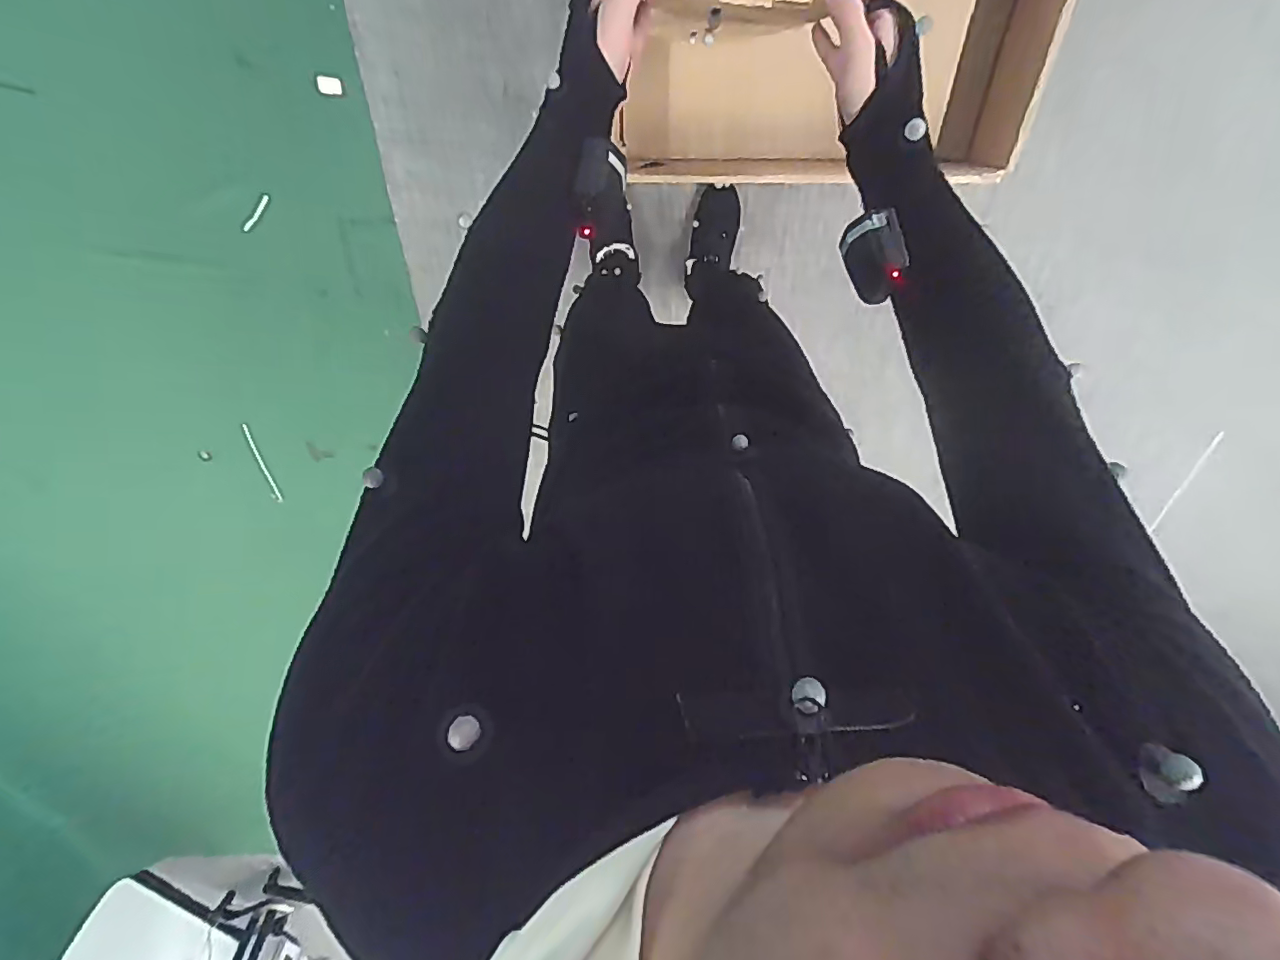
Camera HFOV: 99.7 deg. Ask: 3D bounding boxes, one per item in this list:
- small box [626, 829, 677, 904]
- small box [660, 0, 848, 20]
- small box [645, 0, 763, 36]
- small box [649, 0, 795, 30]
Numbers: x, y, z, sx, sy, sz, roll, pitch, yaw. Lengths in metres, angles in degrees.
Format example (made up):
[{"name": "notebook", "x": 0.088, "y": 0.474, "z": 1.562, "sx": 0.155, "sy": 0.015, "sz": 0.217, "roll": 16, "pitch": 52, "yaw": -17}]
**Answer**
[{"name": "small box", "x": 0.040, "y": 1.321, "z": 1.850, "sx": 0.168, "sy": 0.176, "sz": 0.179, "roll": -3, "pitch": 126, "yaw": 0}, {"name": "small box", "x": 0.096, "y": -0.511, "z": 0.448, "sx": 0.168, "sy": 0.176, "sz": 0.179, "roll": 4, "pitch": 127, "yaw": -3}, {"name": "small box", "x": 0.093, "y": -0.705, "z": 0.709, "sx": 0.168, "sy": 0.176, "sz": 0.179, "roll": 1, "pitch": 127, "yaw": -1}, {"name": "small box", "x": 0.094, "y": -0.607, "z": 0.578, "sx": 0.168, "sy": 0.176, "sz": 0.179, "roll": 4, "pitch": 127, "yaw": -2}]
